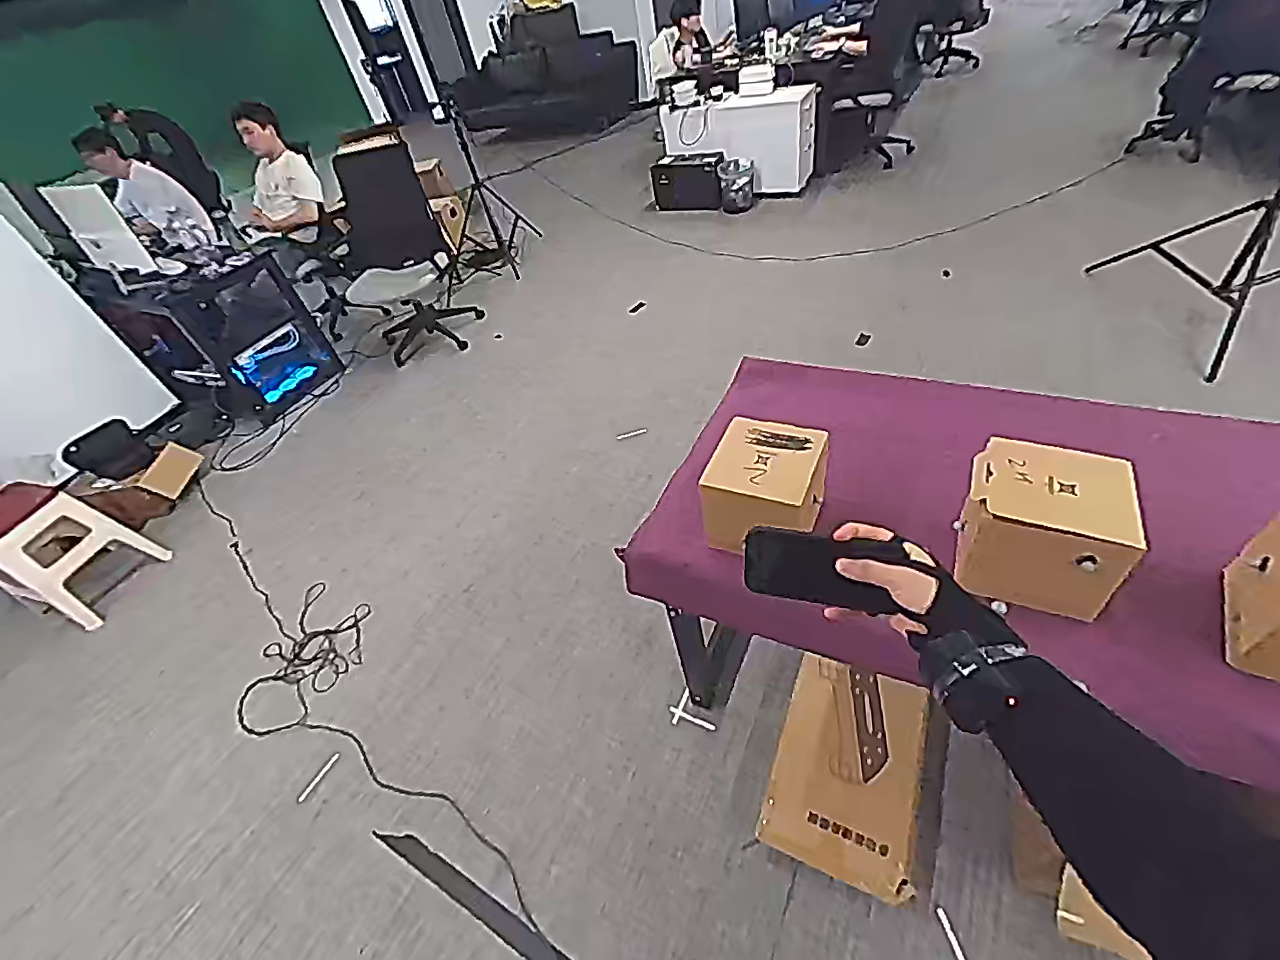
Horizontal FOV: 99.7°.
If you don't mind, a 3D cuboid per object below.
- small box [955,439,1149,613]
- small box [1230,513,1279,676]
[{"bbox_3d":[0.580,0.067,0.783,0.179,0.176,0.168,12,48,25],"label":"small box"},{"bbox_3d":[0.851,0.147,0.636,0.179,0.176,0.168,19,53,29],"label":"small box"}]
